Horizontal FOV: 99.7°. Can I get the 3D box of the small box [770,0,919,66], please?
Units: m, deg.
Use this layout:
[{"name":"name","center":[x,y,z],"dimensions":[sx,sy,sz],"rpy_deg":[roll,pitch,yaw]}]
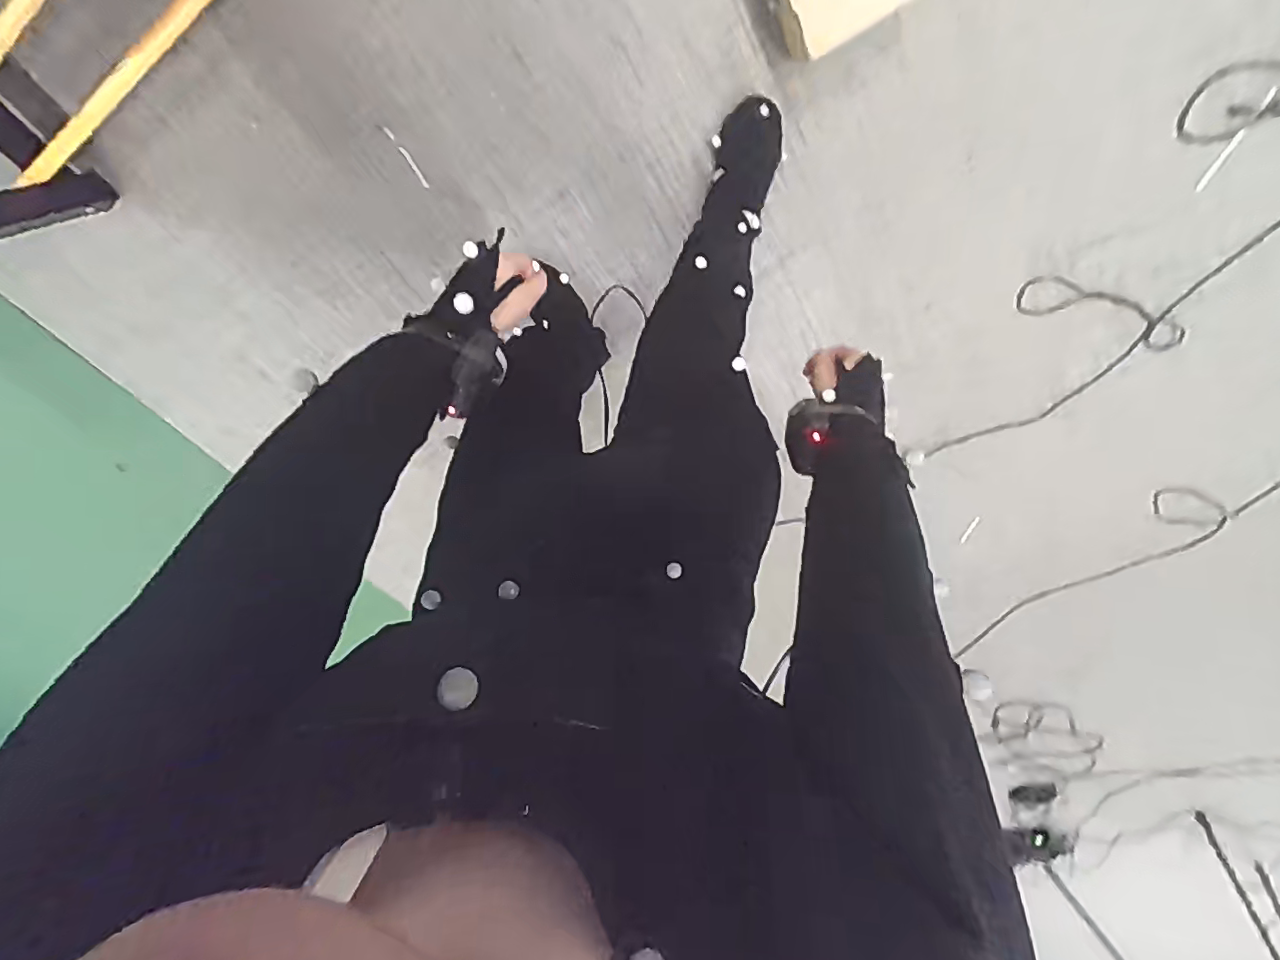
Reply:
[{"name":"small box","center":[0.273,-0.700,0.729],"dimensions":[0.179,0.176,0.168],"rpy_deg":[-22,122,20]}]
